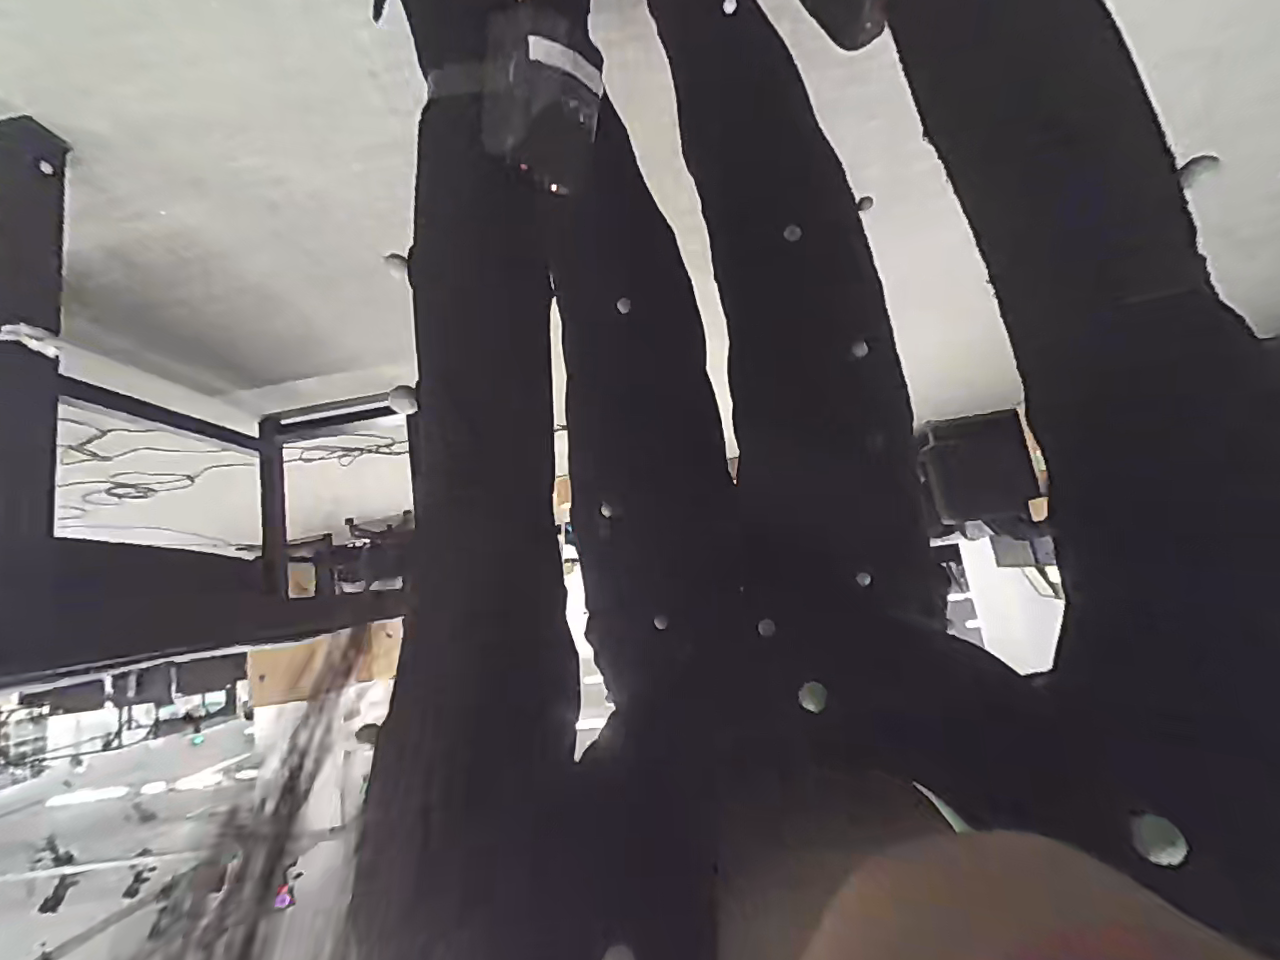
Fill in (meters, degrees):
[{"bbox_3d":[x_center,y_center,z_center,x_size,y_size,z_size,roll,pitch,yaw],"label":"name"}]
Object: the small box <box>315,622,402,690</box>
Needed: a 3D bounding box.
[{"bbox_3d":[-0.838,0.520,1.618,0.179,0.176,0.168,-8,169,4],"label":"small box"}]
